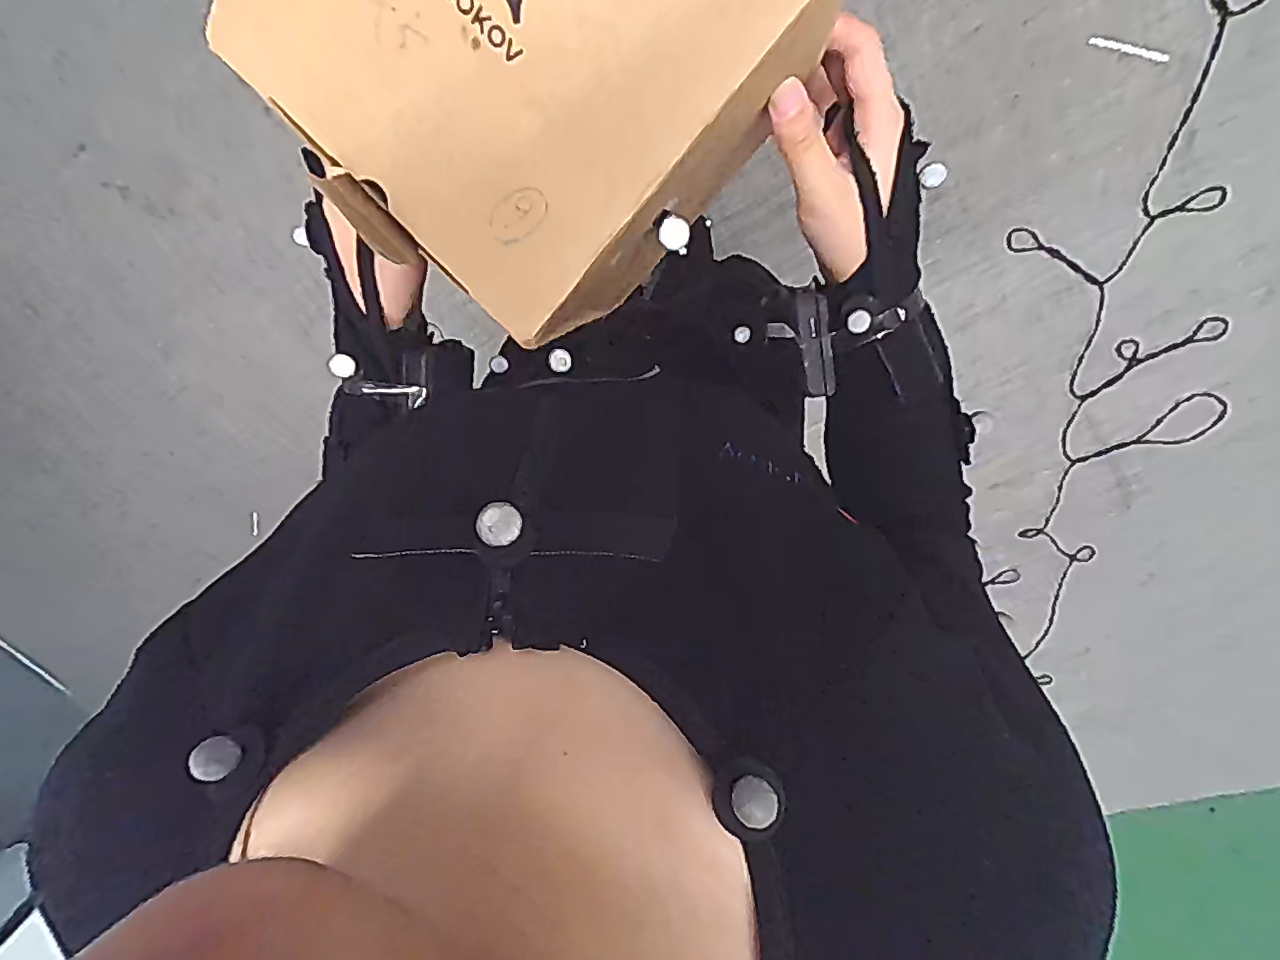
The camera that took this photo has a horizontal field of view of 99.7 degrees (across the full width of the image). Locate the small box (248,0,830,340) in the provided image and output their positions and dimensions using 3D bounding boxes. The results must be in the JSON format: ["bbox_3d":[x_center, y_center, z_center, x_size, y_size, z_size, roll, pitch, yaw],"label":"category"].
[{"bbox_3d":[-0.030,-0.199,0.268,0.168,0.176,0.179,43,114,-9],"label":"small box"}]
